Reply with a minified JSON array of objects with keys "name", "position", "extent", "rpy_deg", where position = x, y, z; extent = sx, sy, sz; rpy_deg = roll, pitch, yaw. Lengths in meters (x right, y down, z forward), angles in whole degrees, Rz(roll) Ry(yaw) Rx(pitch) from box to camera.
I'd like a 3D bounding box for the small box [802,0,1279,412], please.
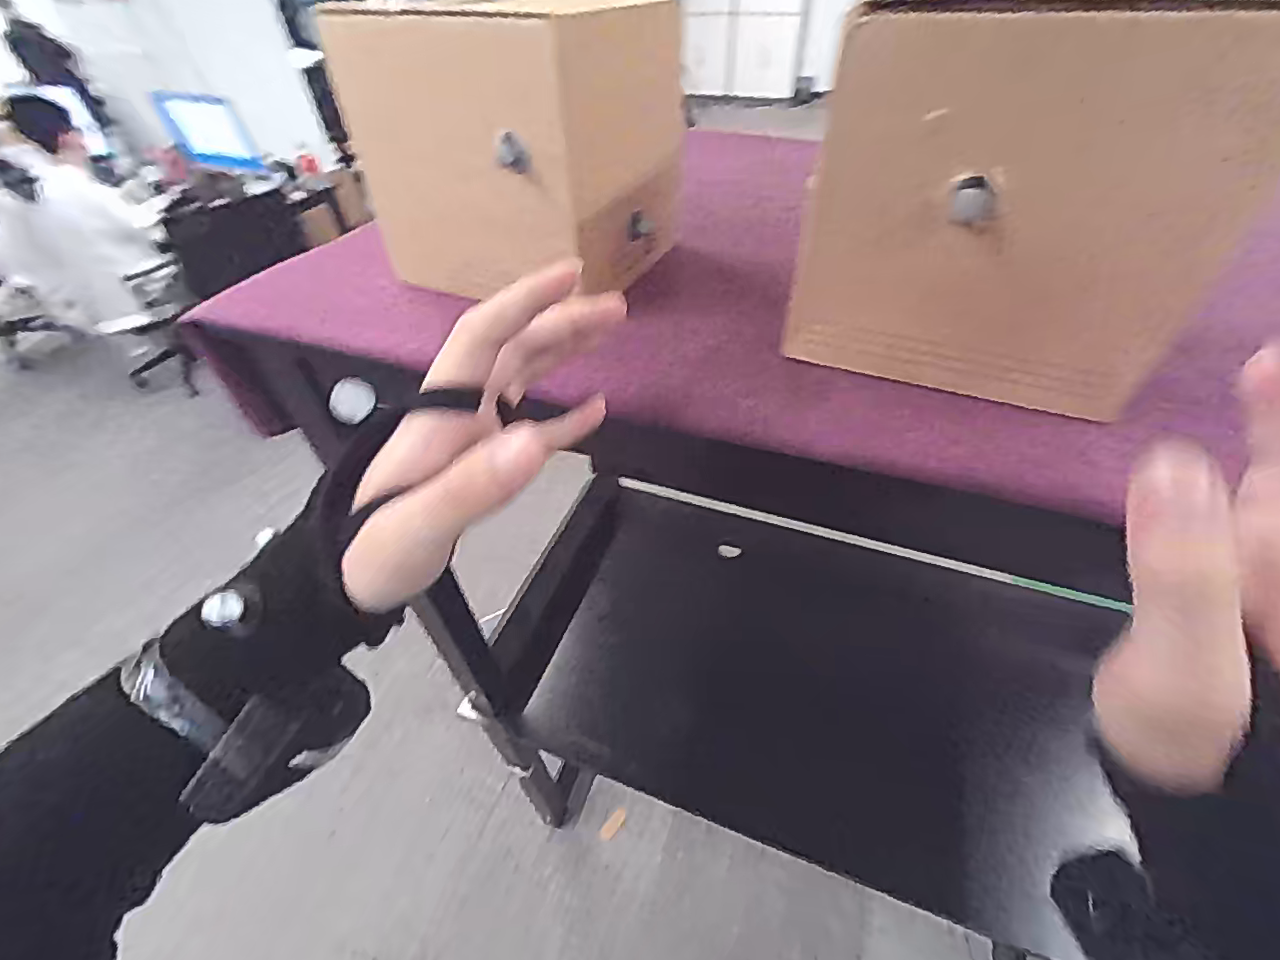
[{"name":"small box","position":[0.202,-0.159,0.305],"extent":[0.179,0.176,0.168],"rpy_deg":[16,48,20]}]
